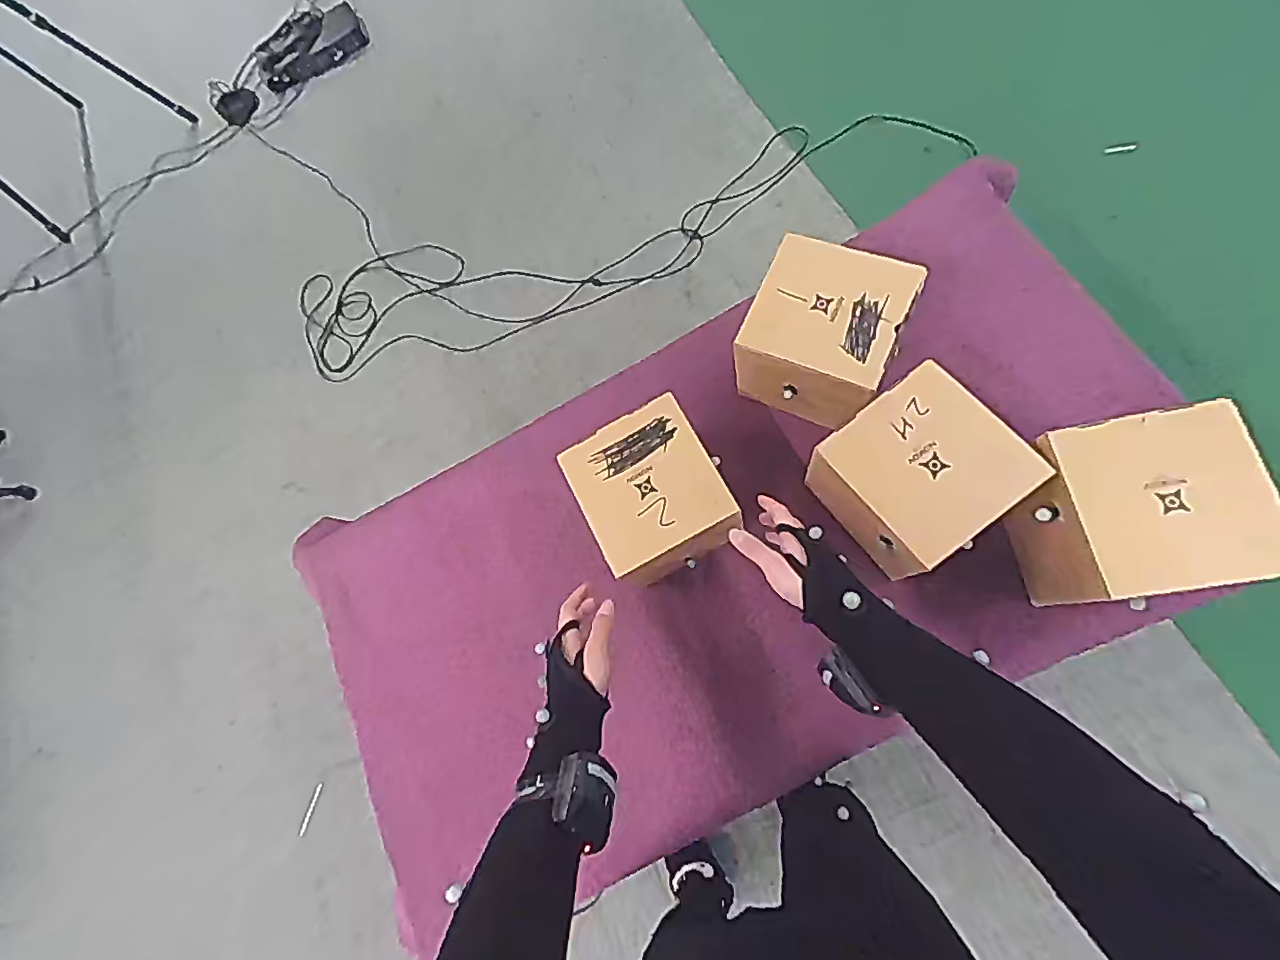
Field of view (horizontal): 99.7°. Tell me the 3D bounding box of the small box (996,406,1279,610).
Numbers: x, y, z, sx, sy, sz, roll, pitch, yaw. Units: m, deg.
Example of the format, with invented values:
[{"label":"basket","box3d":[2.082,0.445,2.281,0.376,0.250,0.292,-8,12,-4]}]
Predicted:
[{"label":"small box","box3d":[0.527,0.044,0.588,0.168,0.176,0.179,-11,72,11]}]
